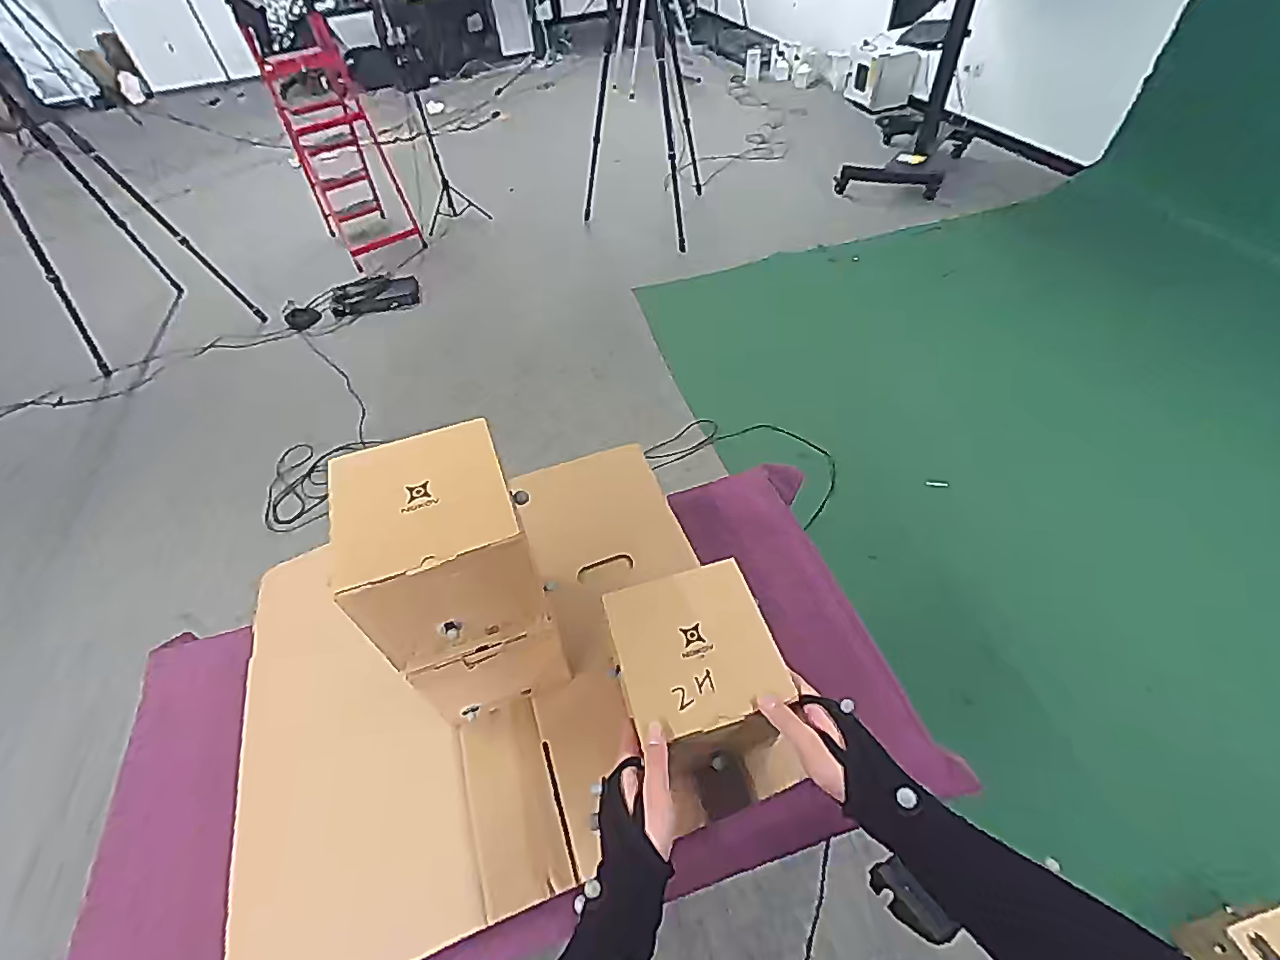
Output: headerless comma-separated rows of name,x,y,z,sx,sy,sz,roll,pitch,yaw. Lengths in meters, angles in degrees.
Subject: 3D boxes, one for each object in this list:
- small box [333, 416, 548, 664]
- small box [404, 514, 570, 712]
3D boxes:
small box,-0.208,0.065,0.582,0.168,0.176,0.179,-18,51,-13
small box,-0.197,0.176,0.699,0.168,0.176,0.179,-17,50,-12
